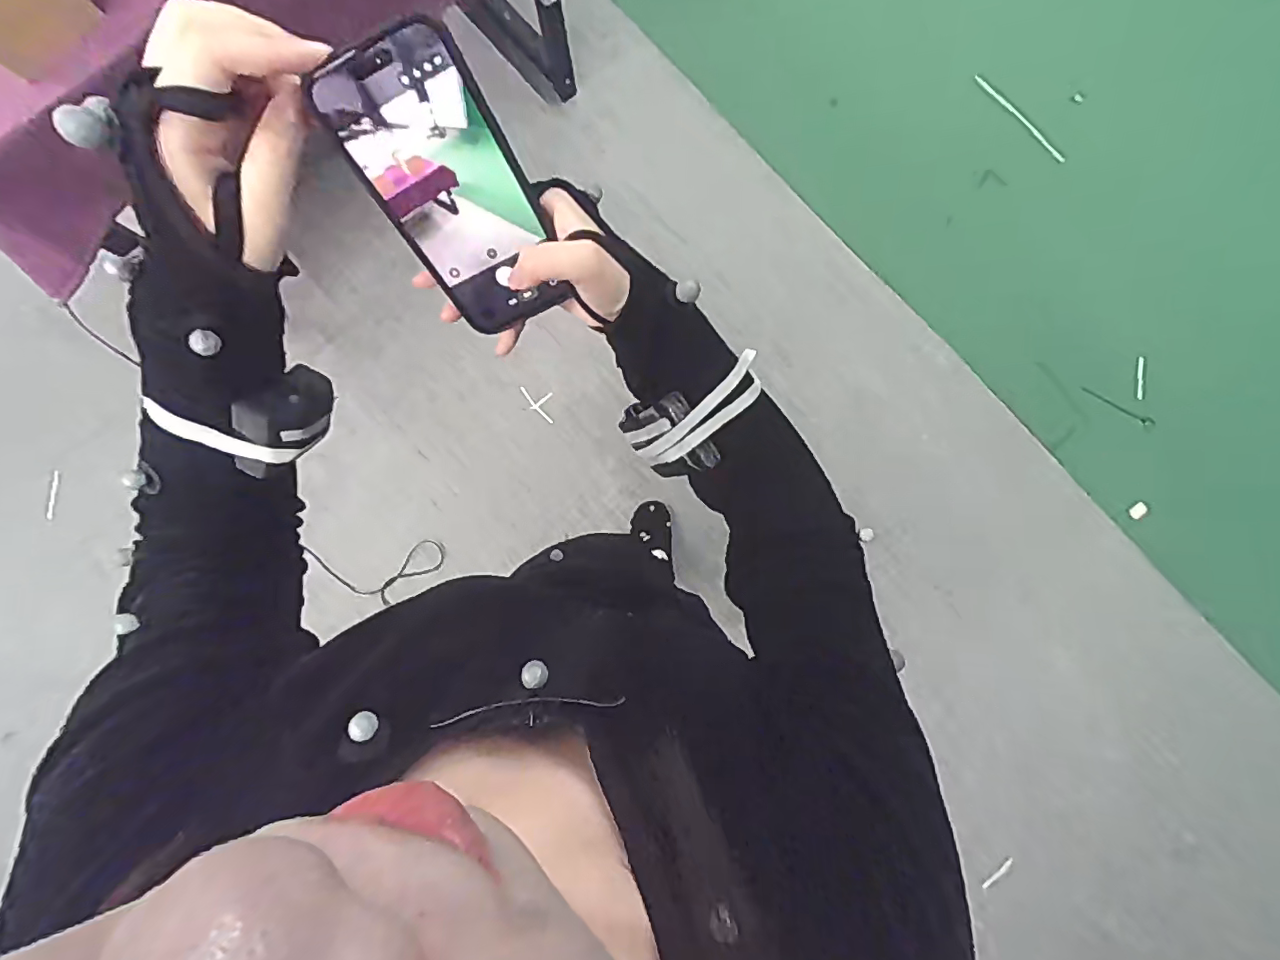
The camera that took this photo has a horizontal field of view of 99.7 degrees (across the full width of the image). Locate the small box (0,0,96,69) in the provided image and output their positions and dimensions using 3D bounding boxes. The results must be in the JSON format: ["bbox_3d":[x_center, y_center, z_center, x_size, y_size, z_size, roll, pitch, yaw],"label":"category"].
[{"bbox_3d":[-0.984,-0.770,0.796,0.168,0.176,0.179,44,86,5],"label":"small box"}]
